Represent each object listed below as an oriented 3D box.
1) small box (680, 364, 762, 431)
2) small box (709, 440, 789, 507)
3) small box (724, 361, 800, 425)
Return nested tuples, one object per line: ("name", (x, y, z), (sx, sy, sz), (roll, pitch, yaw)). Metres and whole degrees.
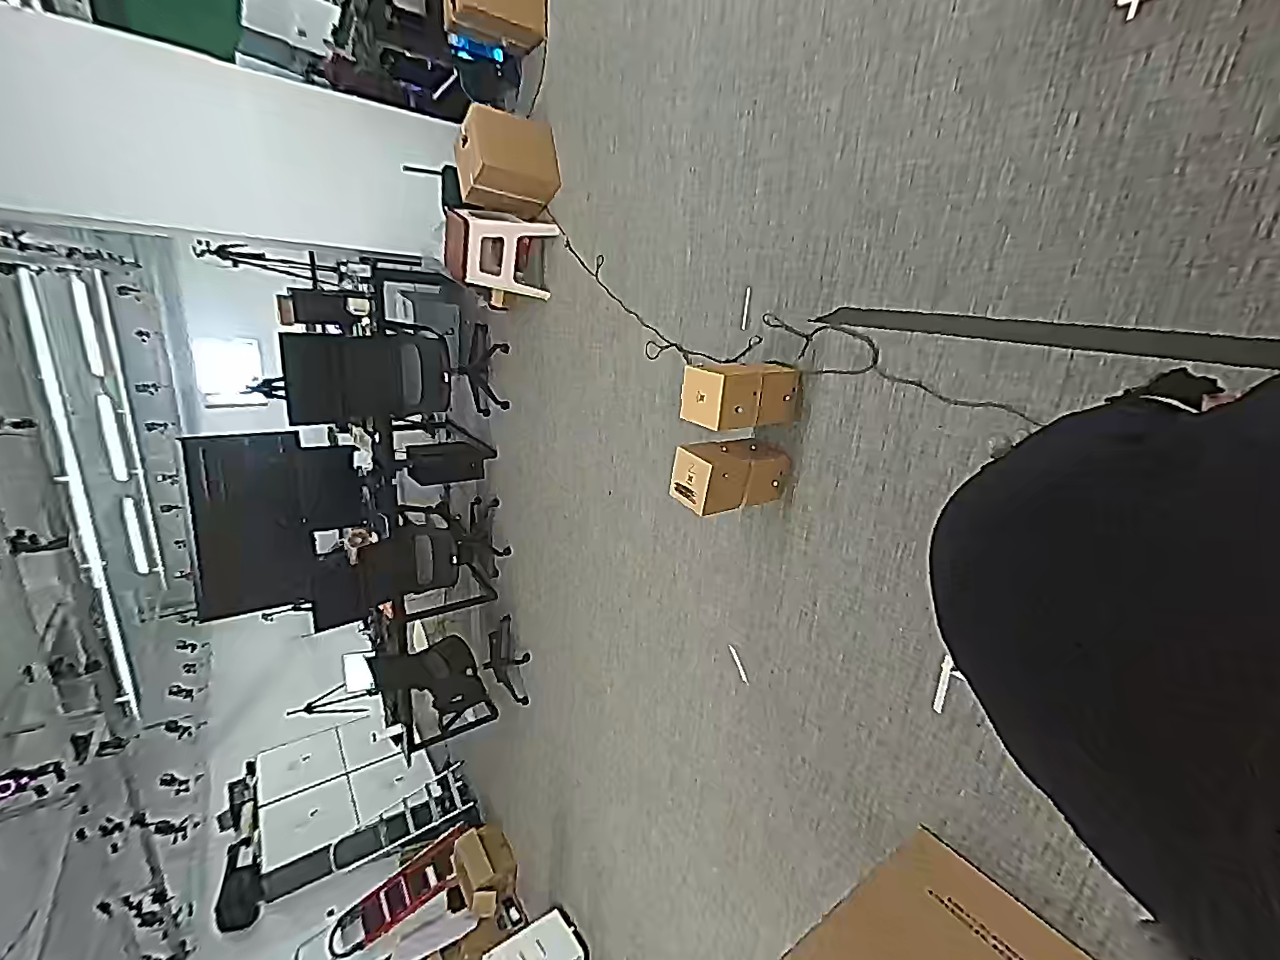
("small box", (0.242, -0.255, 1.621), (0.179, 0.176, 0.168), (29, 122, 49))
("small box", (0.359, -0.029, 1.794), (0.179, 0.176, 0.168), (35, 125, 45))
("small box", (0.374, -0.281, 1.712), (0.179, 0.176, 0.168), (28, 122, 48))
